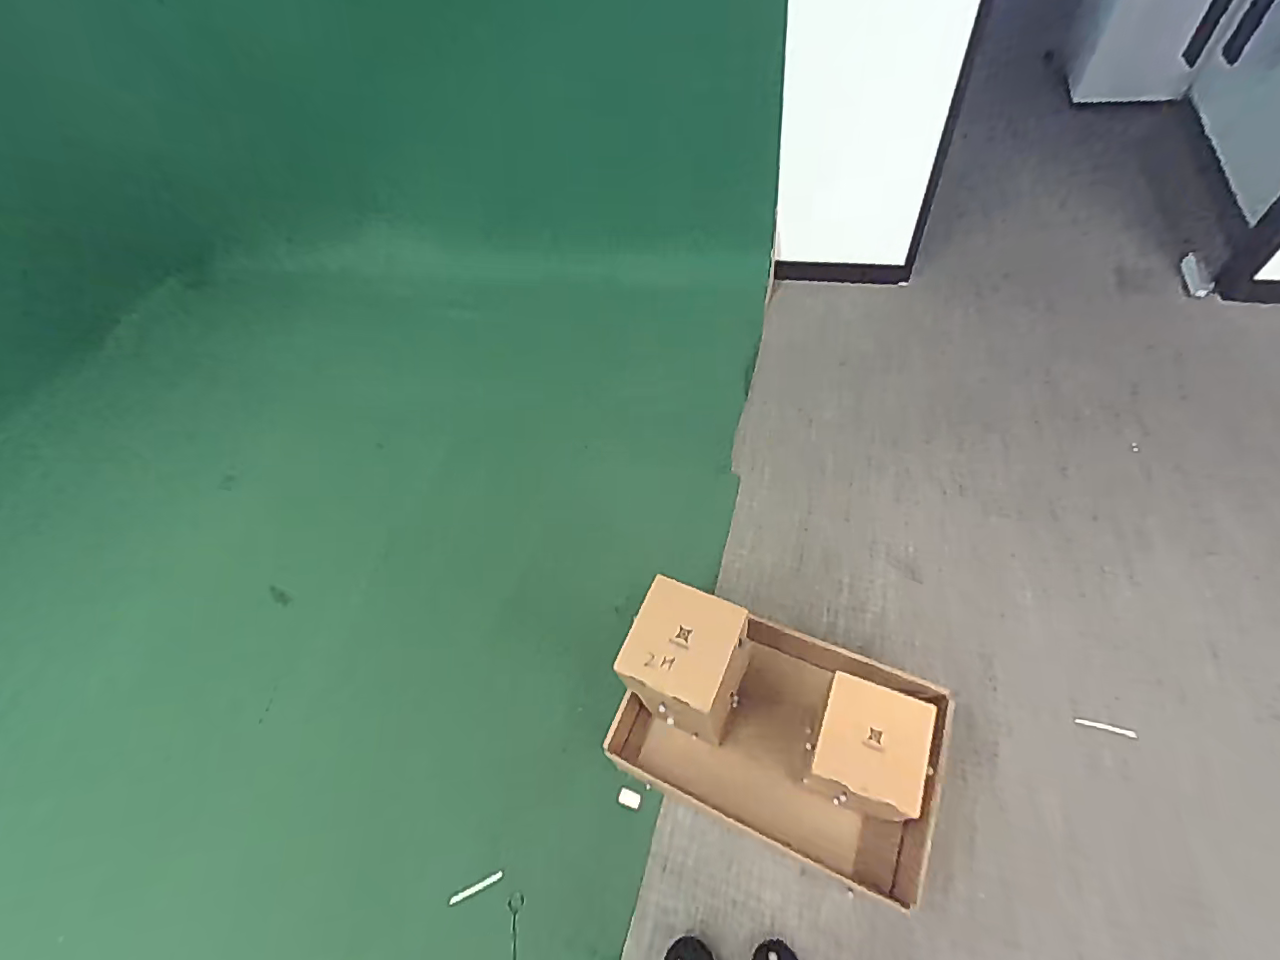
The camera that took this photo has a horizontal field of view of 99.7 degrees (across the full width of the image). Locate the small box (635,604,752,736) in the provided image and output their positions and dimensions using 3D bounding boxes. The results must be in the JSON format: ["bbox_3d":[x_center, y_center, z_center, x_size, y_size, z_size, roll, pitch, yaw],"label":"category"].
[{"bbox_3d":[0.110,0.378,1.067,0.168,0.176,0.179,21,65,21],"label":"small box"}]

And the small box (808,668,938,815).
[{"bbox_3d":[0.403,0.461,0.955,0.168,0.176,0.179,16,64,20],"label":"small box"}]
